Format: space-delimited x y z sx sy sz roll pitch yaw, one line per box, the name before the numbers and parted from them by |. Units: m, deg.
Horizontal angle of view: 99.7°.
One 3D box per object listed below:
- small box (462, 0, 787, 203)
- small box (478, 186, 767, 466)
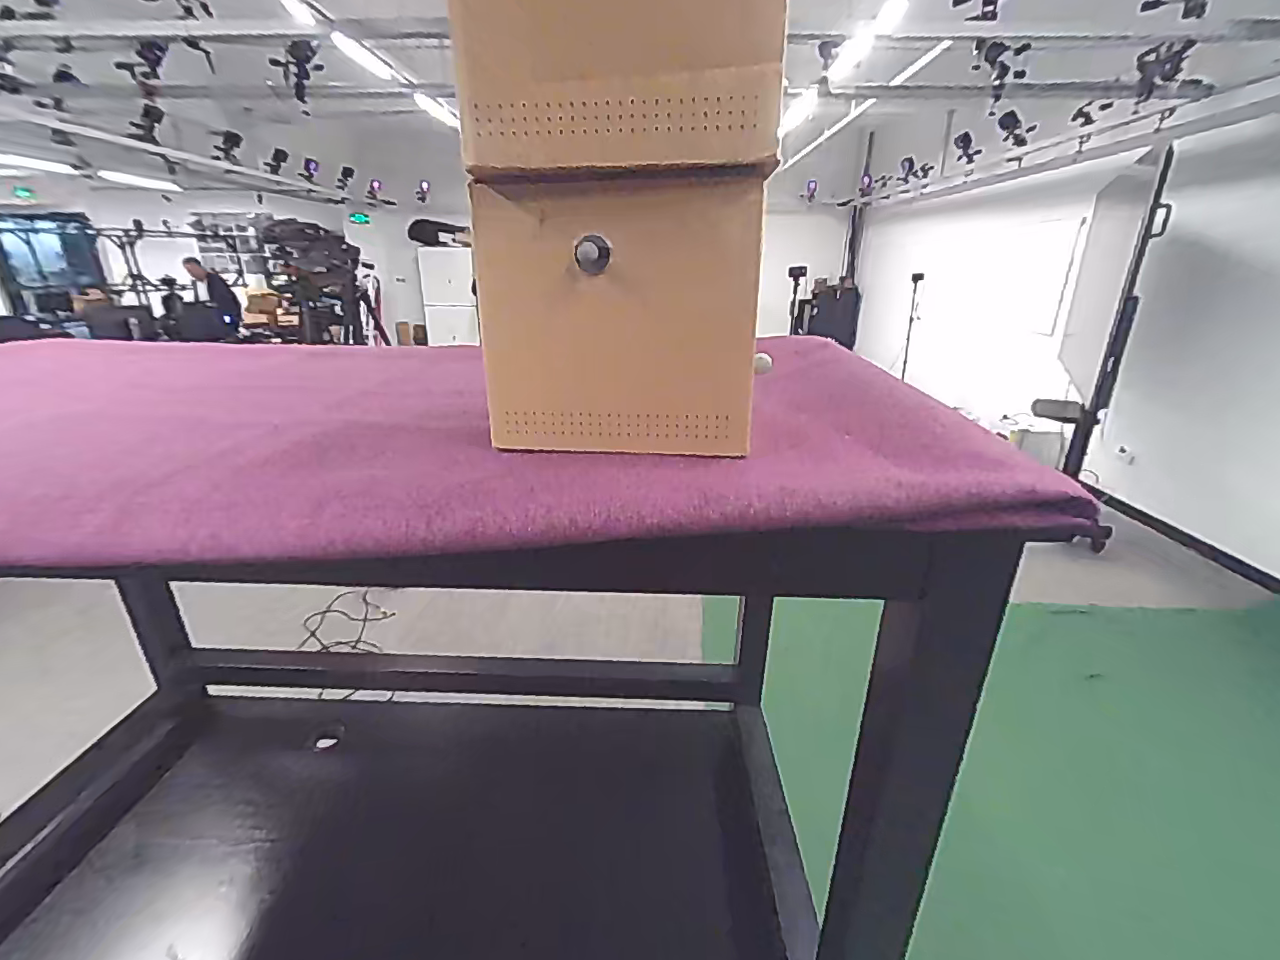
small box | -0.005 -0.261 0.344 0.179 0.176 0.168 1 20 4
small box | -0.001 -0.113 0.412 0.179 0.176 0.168 3 20 8
